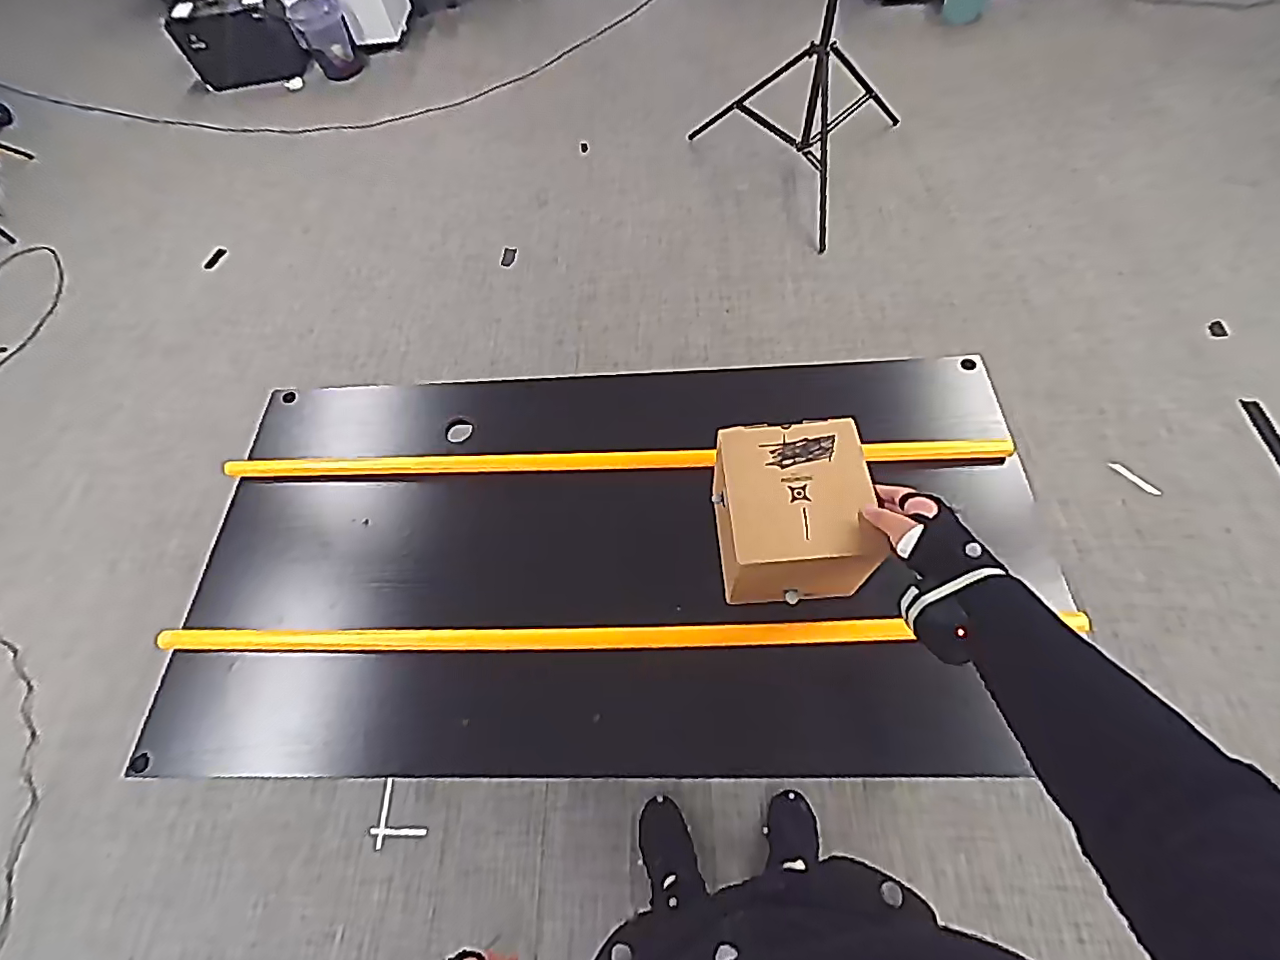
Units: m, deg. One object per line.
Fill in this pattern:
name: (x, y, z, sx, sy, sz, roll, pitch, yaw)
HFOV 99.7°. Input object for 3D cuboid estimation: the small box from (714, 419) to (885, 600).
small box: (0.187, 0.043, 0.697, 0.168, 0.176, 0.179, -5, 62, 3)
